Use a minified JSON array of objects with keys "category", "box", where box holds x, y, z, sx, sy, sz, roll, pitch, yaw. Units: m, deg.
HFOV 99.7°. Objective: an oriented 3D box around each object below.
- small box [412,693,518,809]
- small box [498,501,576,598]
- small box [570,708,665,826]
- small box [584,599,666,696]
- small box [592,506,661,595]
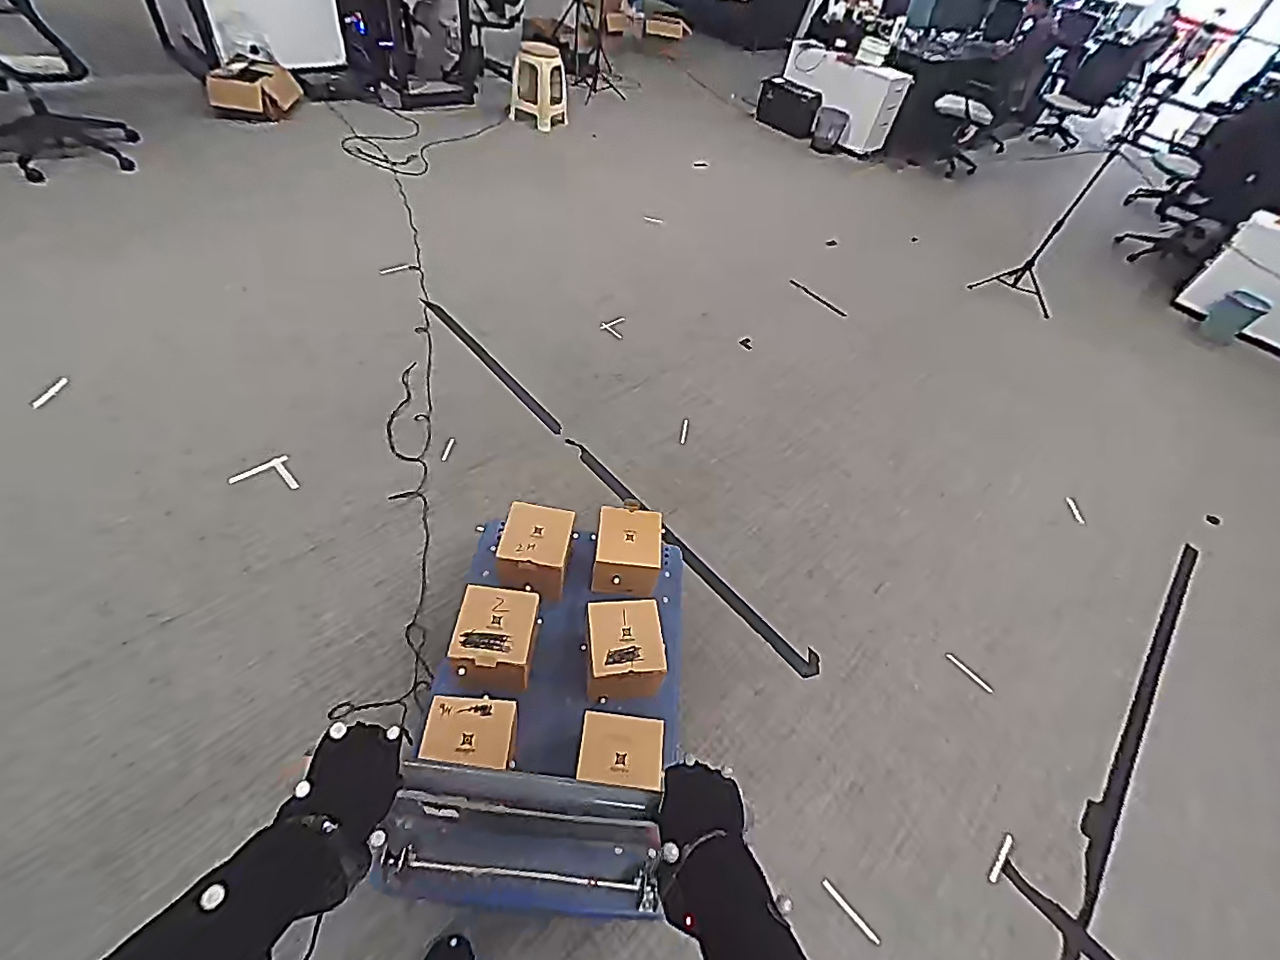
[{"category":"small box","box":[-0.343,0.553,1.094,0.168,0.176,0.179,7,50,-7]},{"category":"small box","box":[-0.269,0.185,1.422,0.168,0.176,0.179,10,50,-3]},{"category":"small box","box":[-0.049,0.598,1.120,0.168,0.176,0.179,10,48,-4]},{"category":"small box","box":[-0.043,0.402,1.287,0.168,0.176,0.179,0,49,-12]},{"category":"small box","box":[-0.038,0.195,1.464,0.168,0.176,0.179,7,49,-6]}]
